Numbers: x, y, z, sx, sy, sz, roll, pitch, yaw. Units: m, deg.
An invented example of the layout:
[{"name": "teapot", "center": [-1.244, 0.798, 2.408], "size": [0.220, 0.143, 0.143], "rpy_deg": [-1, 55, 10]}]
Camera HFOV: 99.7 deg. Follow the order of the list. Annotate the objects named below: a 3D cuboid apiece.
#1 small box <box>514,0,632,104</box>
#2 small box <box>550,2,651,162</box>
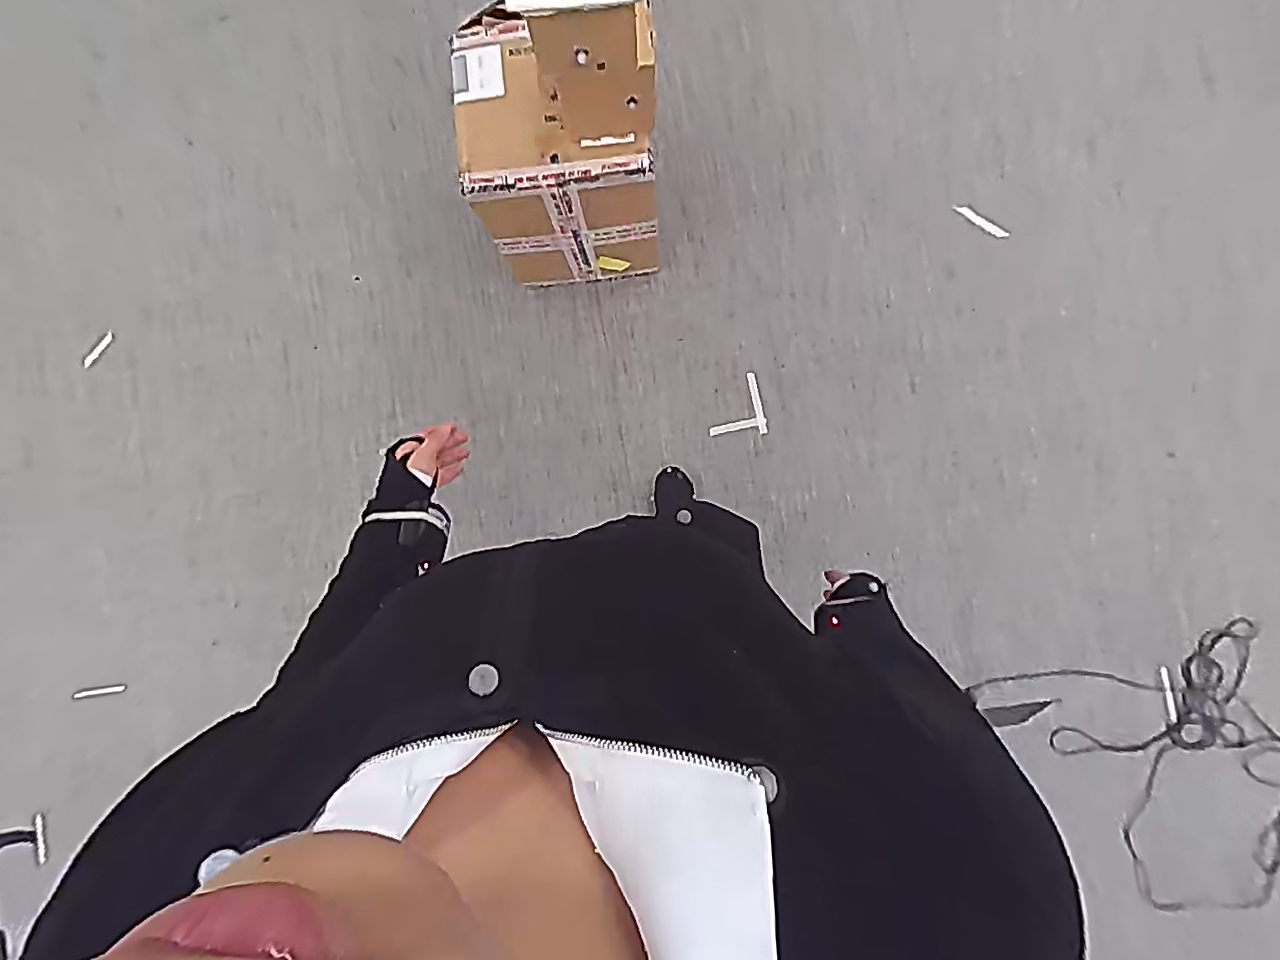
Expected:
[{"name": "small box", "center": [-0.097, -0.729, 0.839], "size": [0.168, 0.176, 0.179], "rpy_deg": [-3, 89, 1]}, {"name": "small box", "center": [-0.075, -0.726, 1.003], "size": [0.179, 0.176, 0.168], "rpy_deg": [-6, 87, 1]}]
